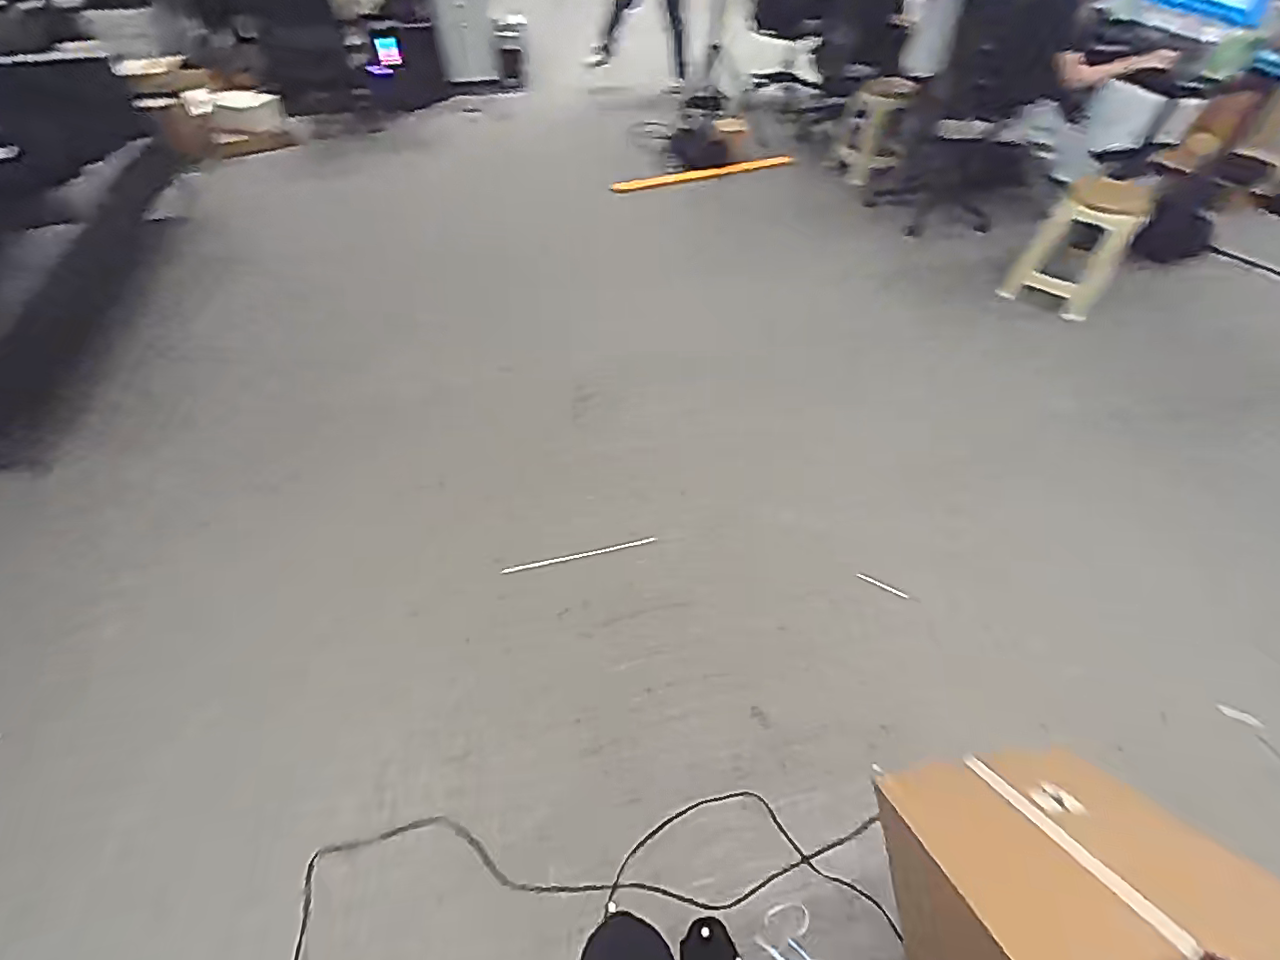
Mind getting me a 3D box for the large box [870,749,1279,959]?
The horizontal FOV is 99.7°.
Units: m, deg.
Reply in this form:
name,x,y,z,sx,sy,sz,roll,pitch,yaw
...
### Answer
name,x,y,z,sx,sy,sz,roll,pitch,yaw
large box,0.556,0.611,0.688,0.320,0.408,0.320,-10,87,1
